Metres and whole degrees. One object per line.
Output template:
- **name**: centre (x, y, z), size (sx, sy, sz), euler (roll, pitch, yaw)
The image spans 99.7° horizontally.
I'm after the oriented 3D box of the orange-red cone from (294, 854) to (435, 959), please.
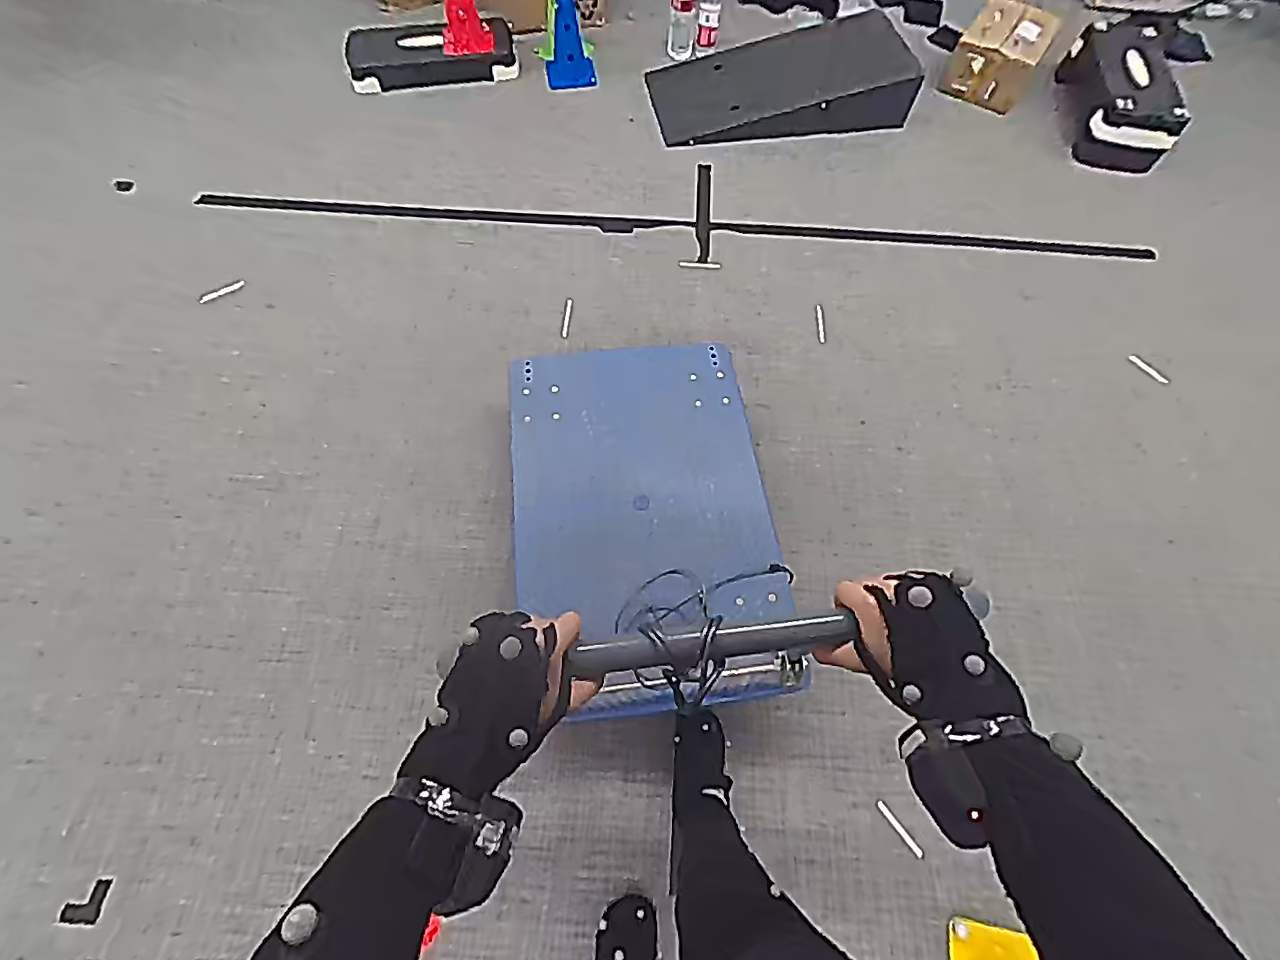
- **orange-red cone**: centre (-0.498, 0.764, 0.848), size (0.199, 0.360, 0.198), euler (-37, 71, -20)
